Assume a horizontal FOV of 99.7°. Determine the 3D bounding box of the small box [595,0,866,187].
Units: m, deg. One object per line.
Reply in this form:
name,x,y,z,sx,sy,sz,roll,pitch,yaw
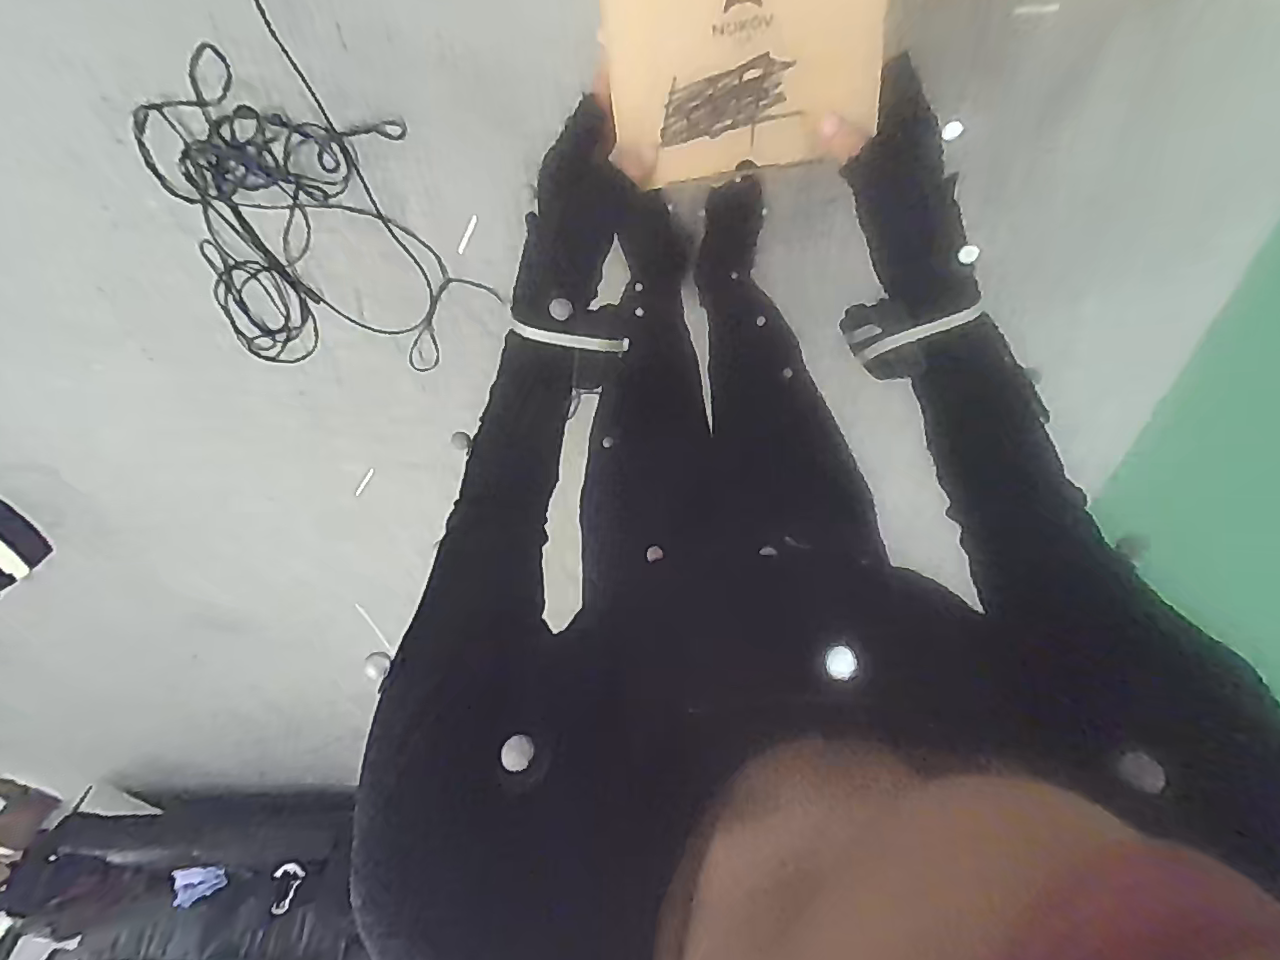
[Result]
small box,0.063,-0.330,0.399,0.168,0.176,0.179,-3,121,8
